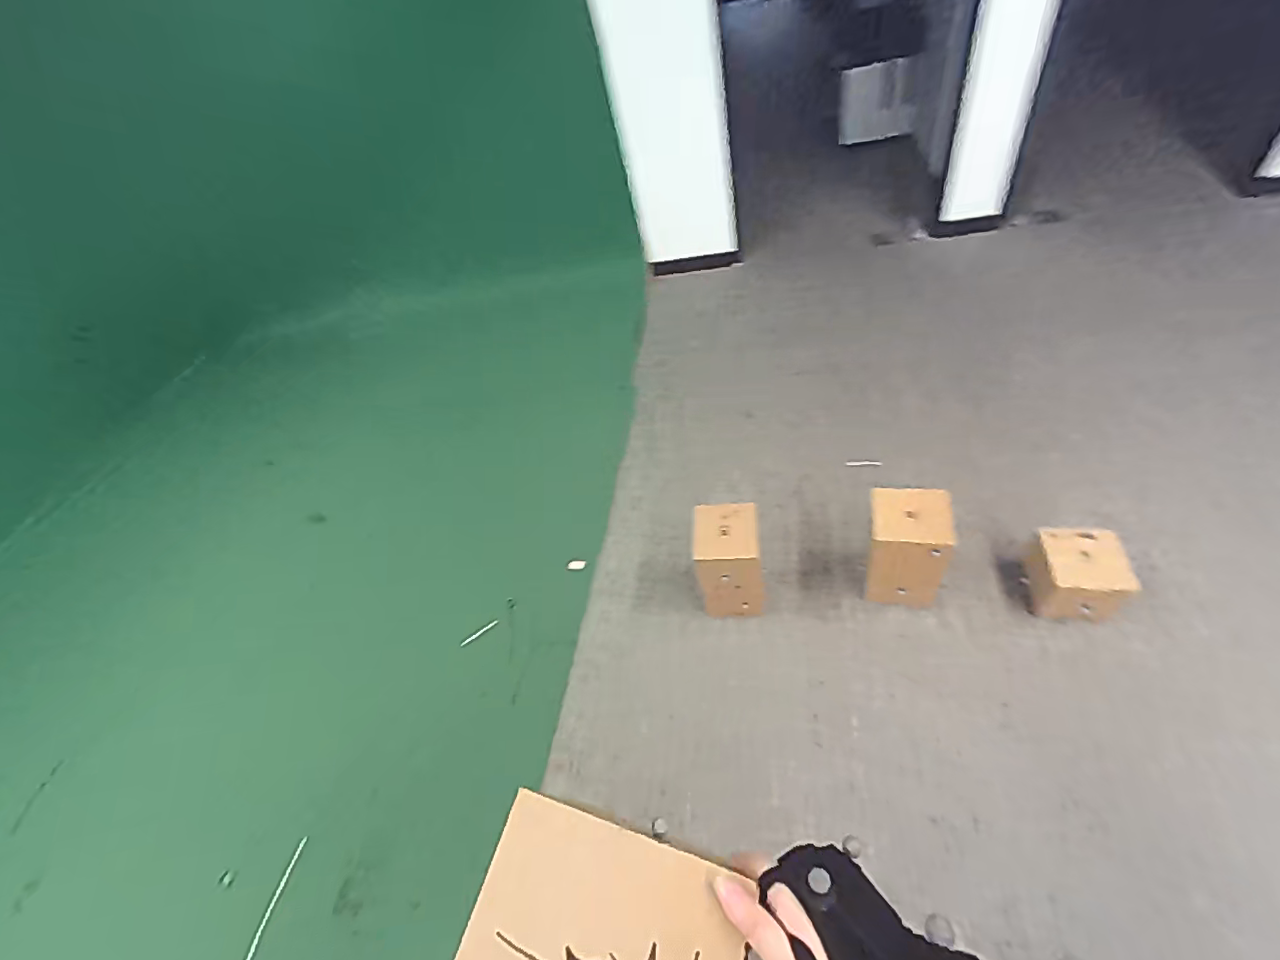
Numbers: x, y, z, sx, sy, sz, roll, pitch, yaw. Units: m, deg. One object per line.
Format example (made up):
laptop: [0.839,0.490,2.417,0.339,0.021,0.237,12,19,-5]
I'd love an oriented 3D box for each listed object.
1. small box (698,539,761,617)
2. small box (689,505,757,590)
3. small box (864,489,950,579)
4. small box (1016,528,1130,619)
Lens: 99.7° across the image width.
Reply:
small box: [0.268,0.291,1.594,0.168,0.176,0.179,-2,49,14]
small box: [0.229,0.189,1.471,0.168,0.176,0.179,-3,50,13]
small box: [0.671,0.139,1.381,0.179,0.176,0.168,1,50,18]
small box: [1.098,0.242,1.387,0.168,0.176,0.179,0,51,17]
